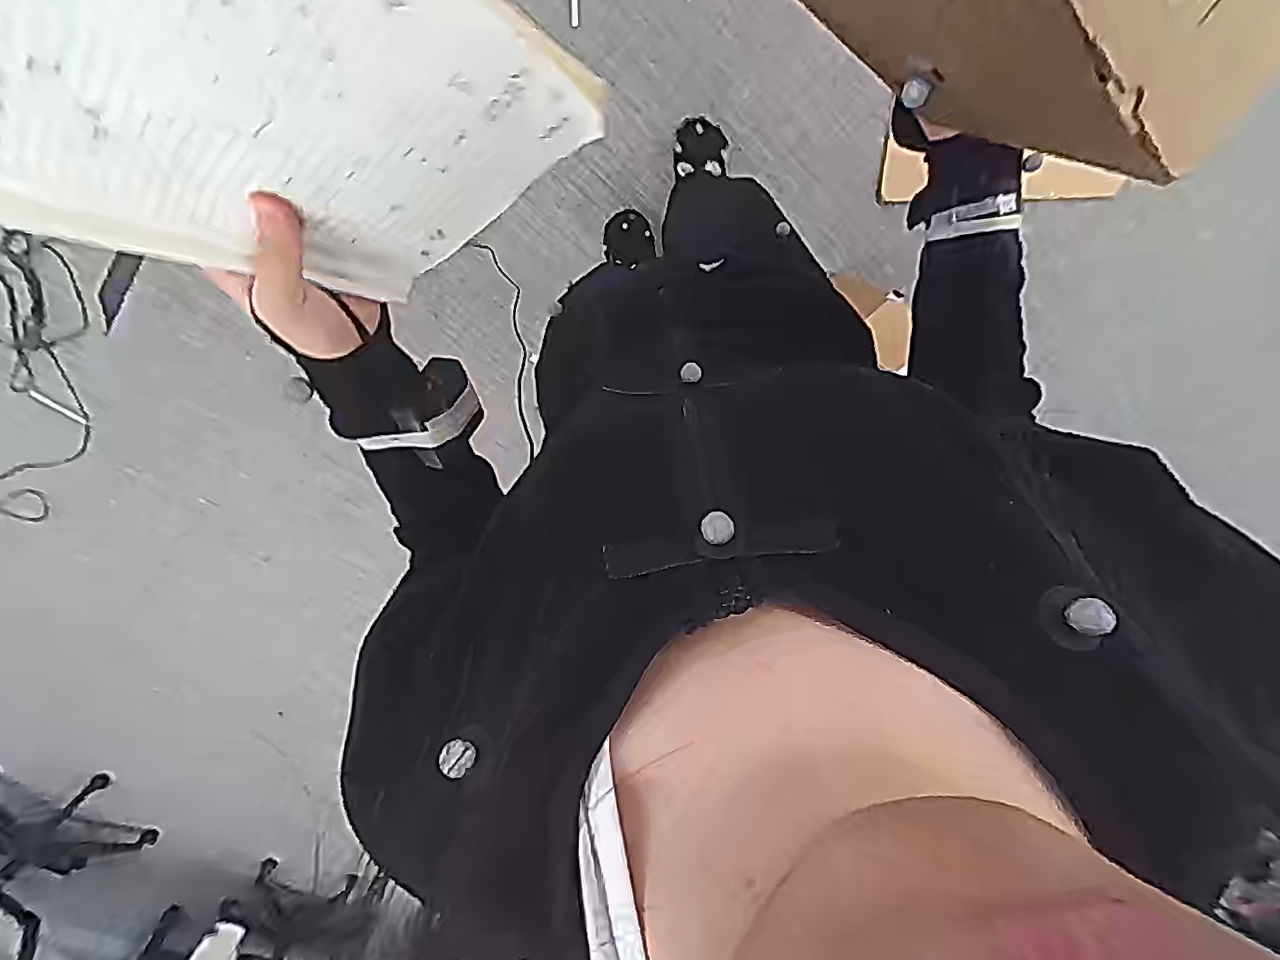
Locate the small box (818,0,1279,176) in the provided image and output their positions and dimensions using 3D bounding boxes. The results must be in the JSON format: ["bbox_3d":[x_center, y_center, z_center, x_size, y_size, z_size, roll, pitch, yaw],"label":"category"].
[{"bbox_3d":[0.209,-0.275,0.233,0.168,0.176,0.179,7,125,-35],"label":"small box"}]
